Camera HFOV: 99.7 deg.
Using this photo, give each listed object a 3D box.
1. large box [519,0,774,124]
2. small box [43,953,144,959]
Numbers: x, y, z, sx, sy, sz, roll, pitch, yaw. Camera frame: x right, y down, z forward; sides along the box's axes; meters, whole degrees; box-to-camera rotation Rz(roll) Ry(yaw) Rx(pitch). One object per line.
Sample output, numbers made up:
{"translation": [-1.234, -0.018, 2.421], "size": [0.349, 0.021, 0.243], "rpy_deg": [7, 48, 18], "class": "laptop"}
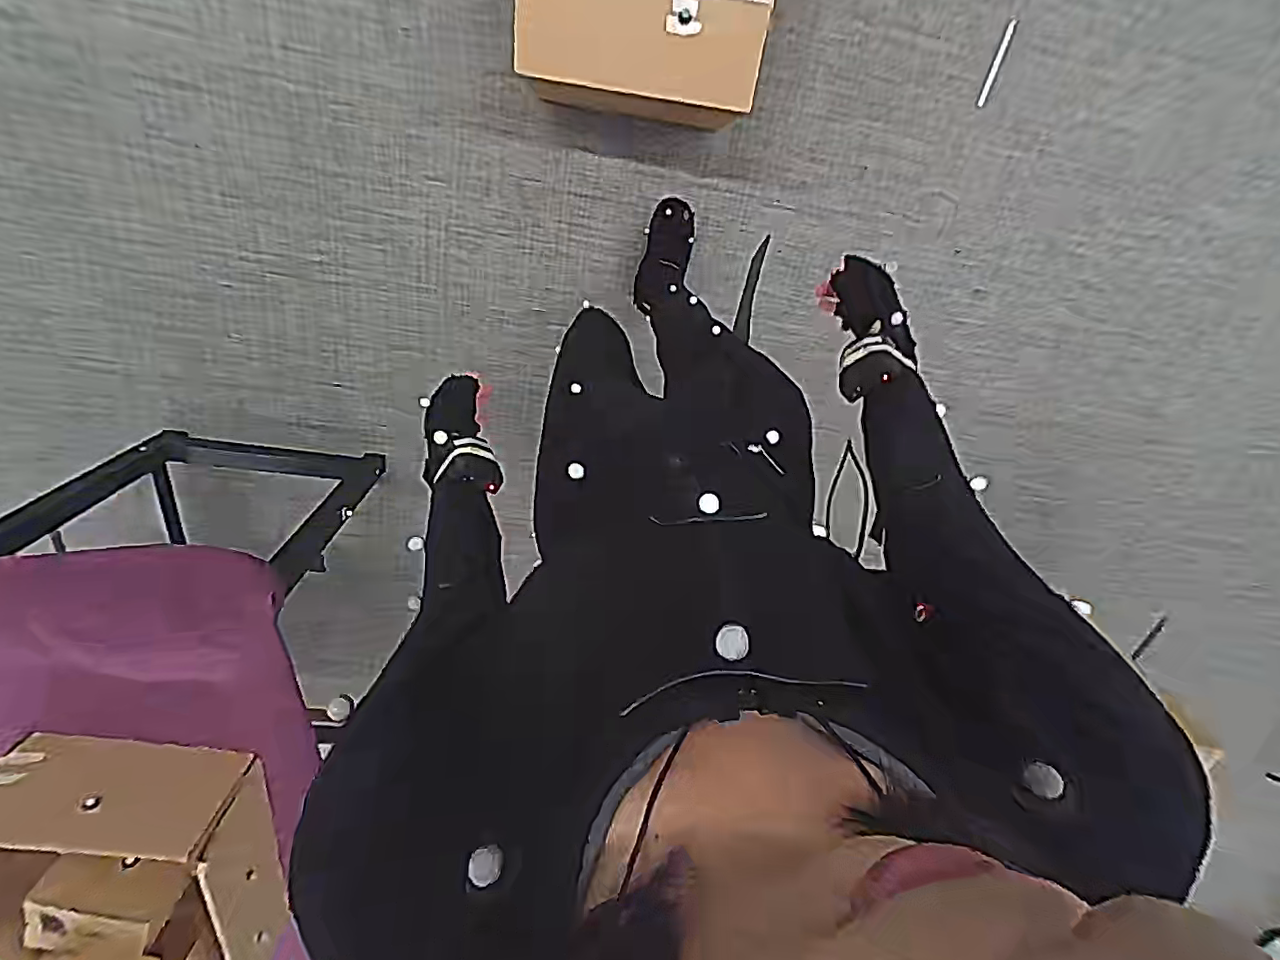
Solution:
{"translation": [0.007, -0.852, 0.958], "size": [0.408, 0.320, 0.320], "rpy_deg": [5, 119, -6], "class": "large box"}
{"translation": [-0.919, 0.903, 0.873], "size": [0.179, 0.176, 0.168], "rpy_deg": [8, 117, -6], "class": "small box"}
